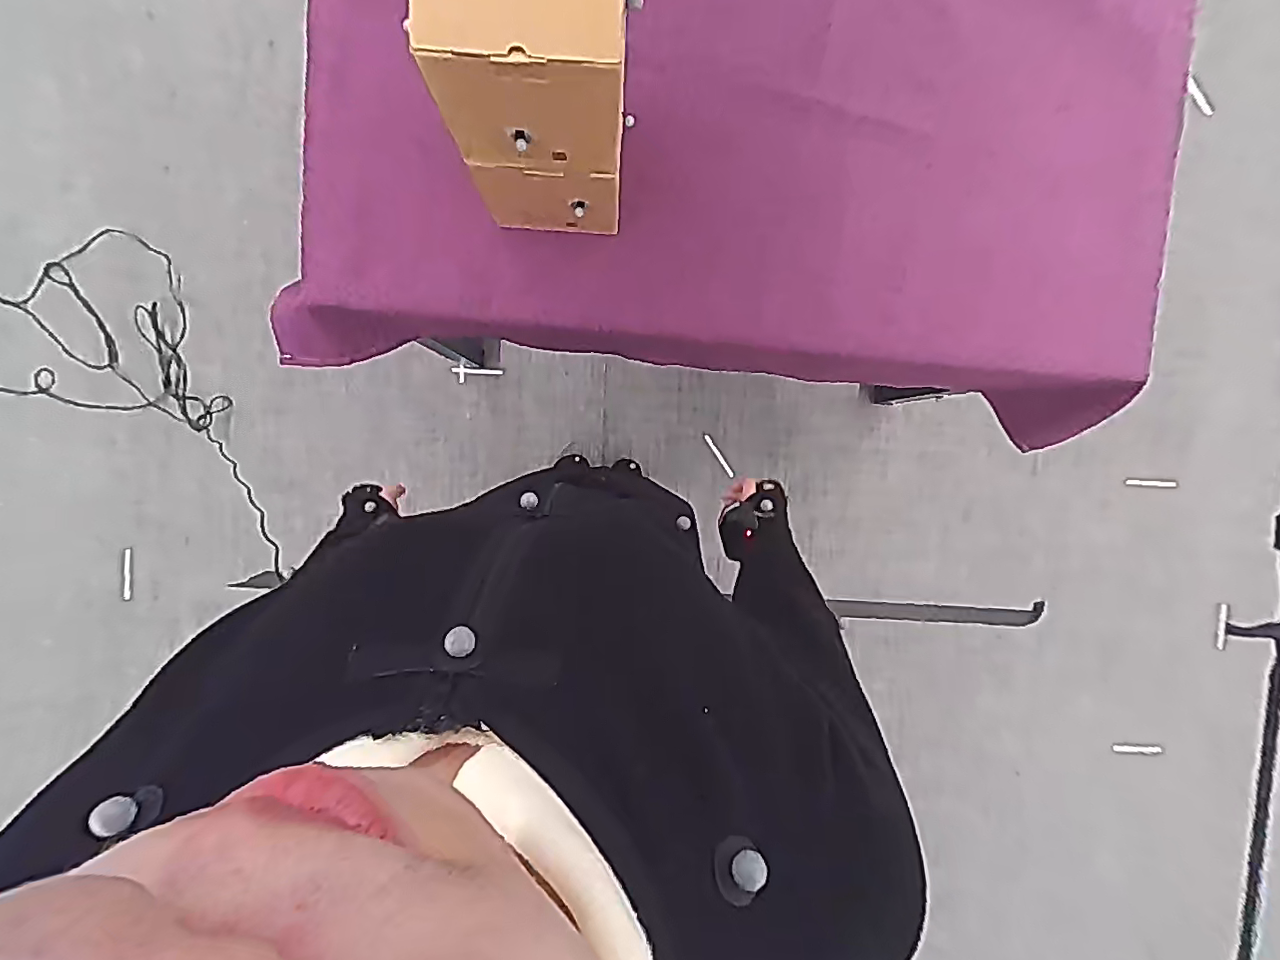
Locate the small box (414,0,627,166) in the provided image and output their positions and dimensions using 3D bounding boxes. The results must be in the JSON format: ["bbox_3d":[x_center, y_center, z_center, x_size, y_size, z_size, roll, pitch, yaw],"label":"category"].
[{"bbox_3d":[-0.097,-0.422,0.496,0.168,0.176,0.179,1,95,-4],"label":"small box"}]

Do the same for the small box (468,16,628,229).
[{"bbox_3d":[-0.102,-0.427,0.658,0.168,0.176,0.179,3,93,-4],"label":"small box"}]
